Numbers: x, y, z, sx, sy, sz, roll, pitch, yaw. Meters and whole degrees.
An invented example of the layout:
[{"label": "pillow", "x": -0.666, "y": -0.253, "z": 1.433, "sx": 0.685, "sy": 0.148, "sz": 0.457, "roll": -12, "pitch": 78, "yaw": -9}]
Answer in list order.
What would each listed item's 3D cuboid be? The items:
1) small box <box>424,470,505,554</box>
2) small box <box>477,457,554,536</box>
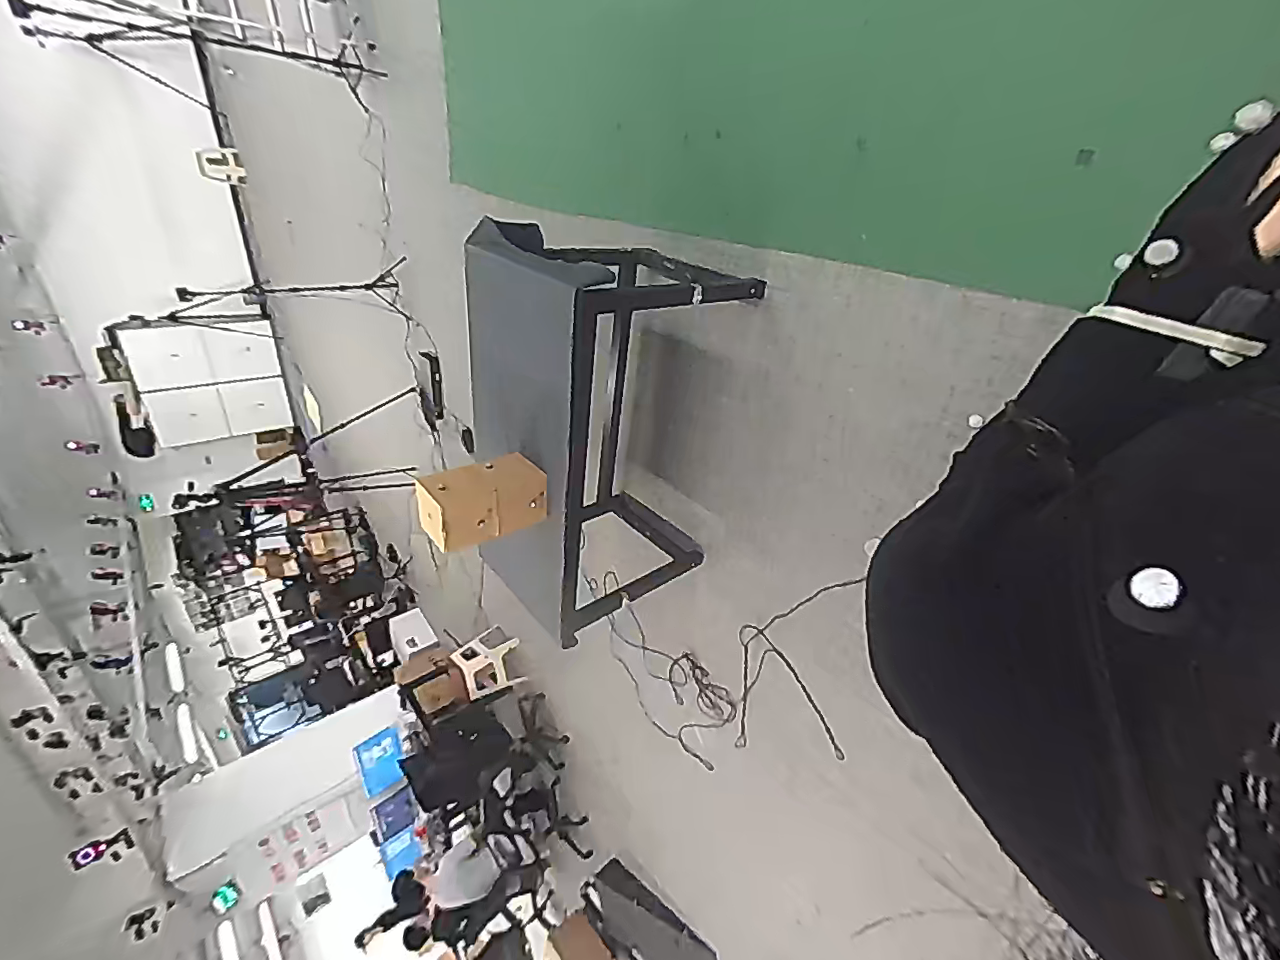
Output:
[{"label": "small box", "x": -0.505, "y": 0.083, "z": 1.564, "sx": 0.179, "sy": 0.176, "sz": 0.168, "roll": 33, "pitch": 129, "yaw": 40}, {"label": "small box", "x": -0.381, "y": 0.042, "z": 1.660, "sx": 0.179, "sy": 0.176, "sz": 0.168, "roll": 34, "pitch": 130, "yaw": 40}]
